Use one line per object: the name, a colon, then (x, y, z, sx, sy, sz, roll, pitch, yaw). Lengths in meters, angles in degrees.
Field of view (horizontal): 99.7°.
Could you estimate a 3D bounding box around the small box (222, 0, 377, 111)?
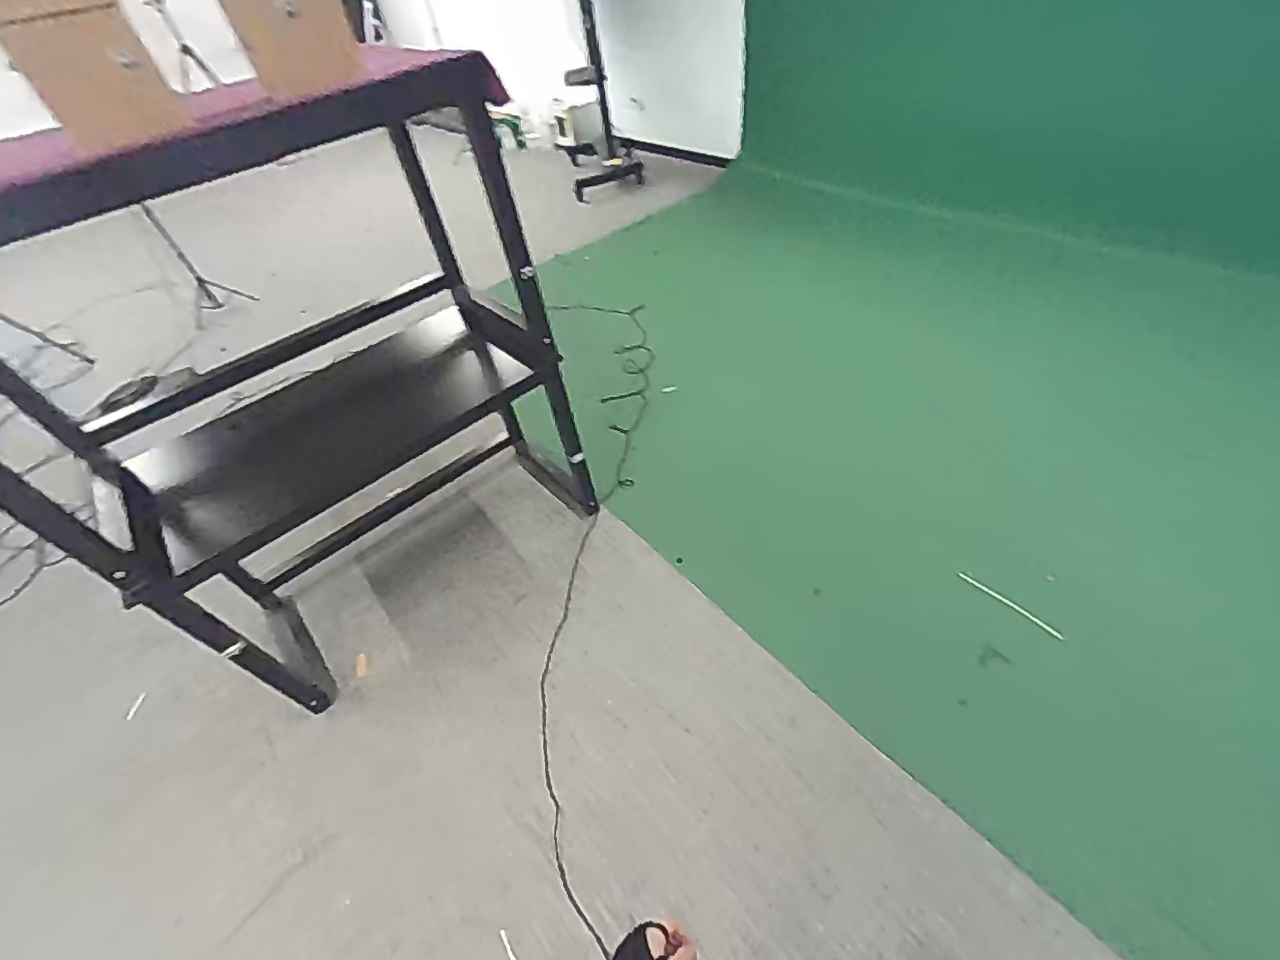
small box: (-0.644, -0.831, 1.035, 0.179, 0.176, 0.168, -33, 51, -21)
